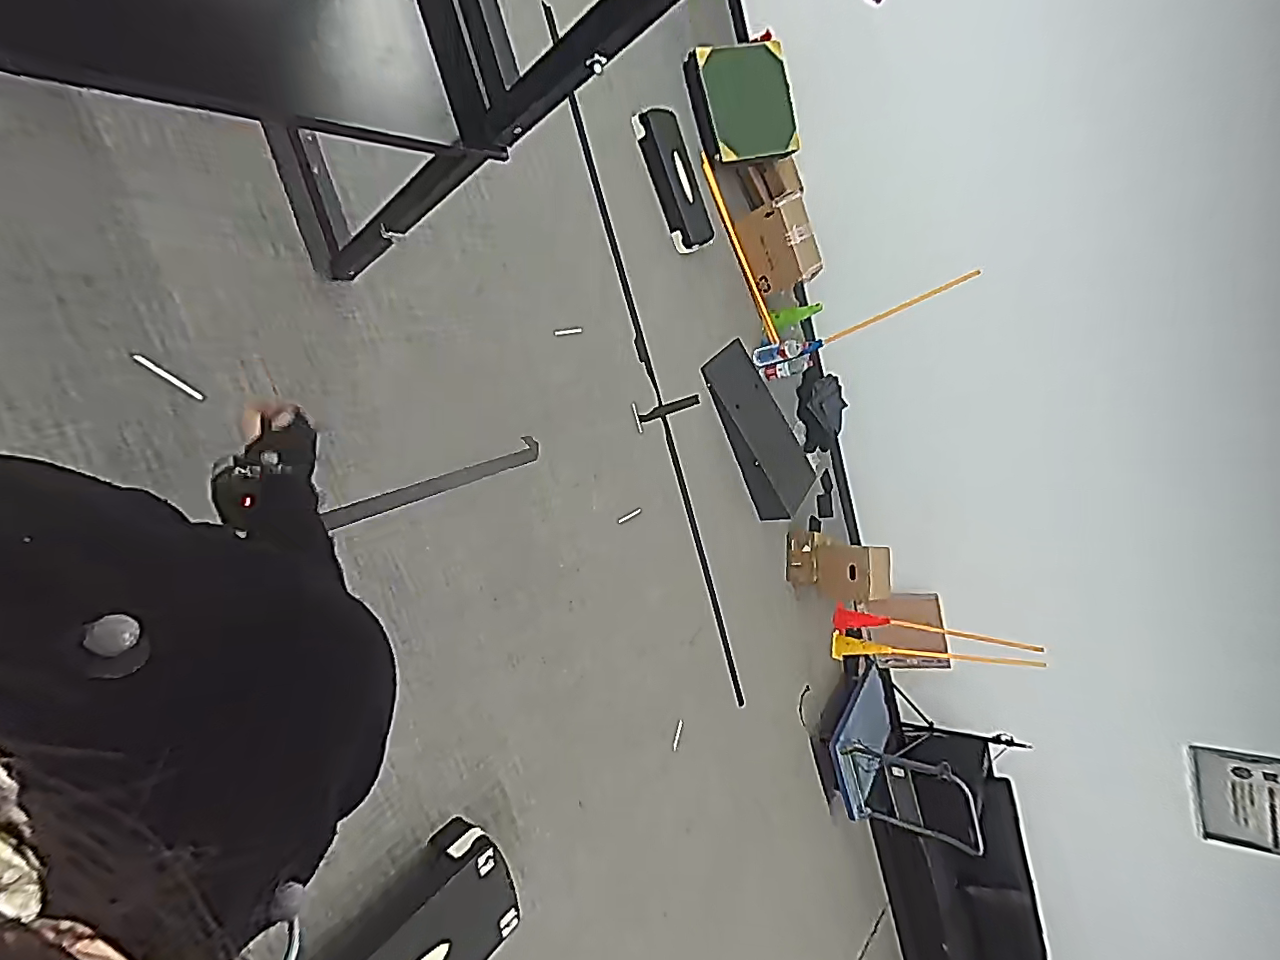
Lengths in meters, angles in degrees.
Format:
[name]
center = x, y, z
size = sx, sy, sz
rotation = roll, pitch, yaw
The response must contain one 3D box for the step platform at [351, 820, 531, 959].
[step platform]
center = -0.592, 1.199, 1.339
size = 0.684, 0.204, 0.286
rotation = -18, 97, -50
